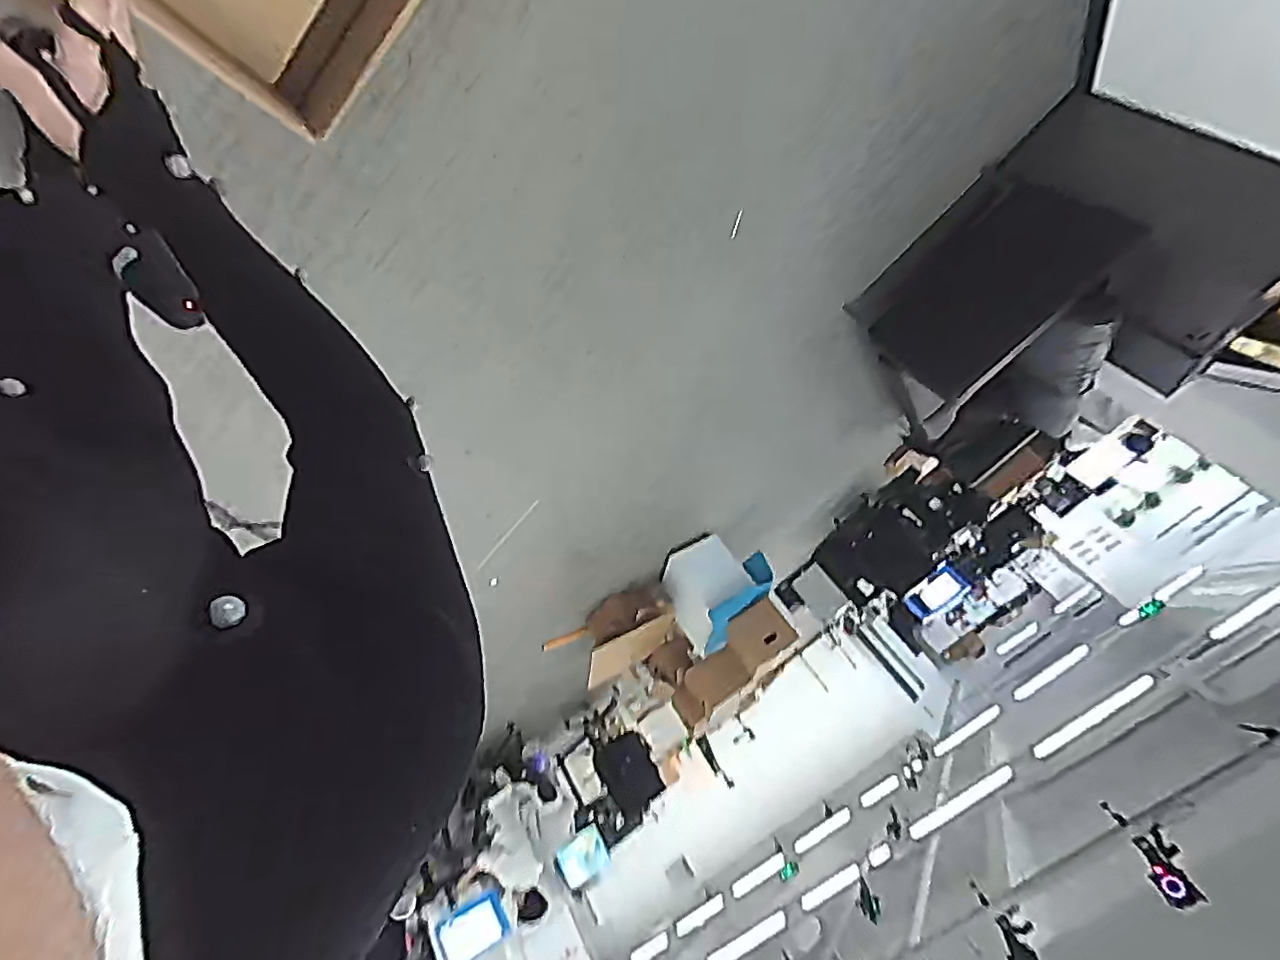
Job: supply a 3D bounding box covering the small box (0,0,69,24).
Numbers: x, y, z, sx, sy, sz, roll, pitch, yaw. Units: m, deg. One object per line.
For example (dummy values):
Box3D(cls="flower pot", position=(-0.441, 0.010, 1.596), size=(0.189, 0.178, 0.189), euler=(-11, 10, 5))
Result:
Box3D(cls="small box", position=(-0.459, -0.425, 0.321), size=(0.168, 0.176, 0.179), euler=(2, 108, -46))
